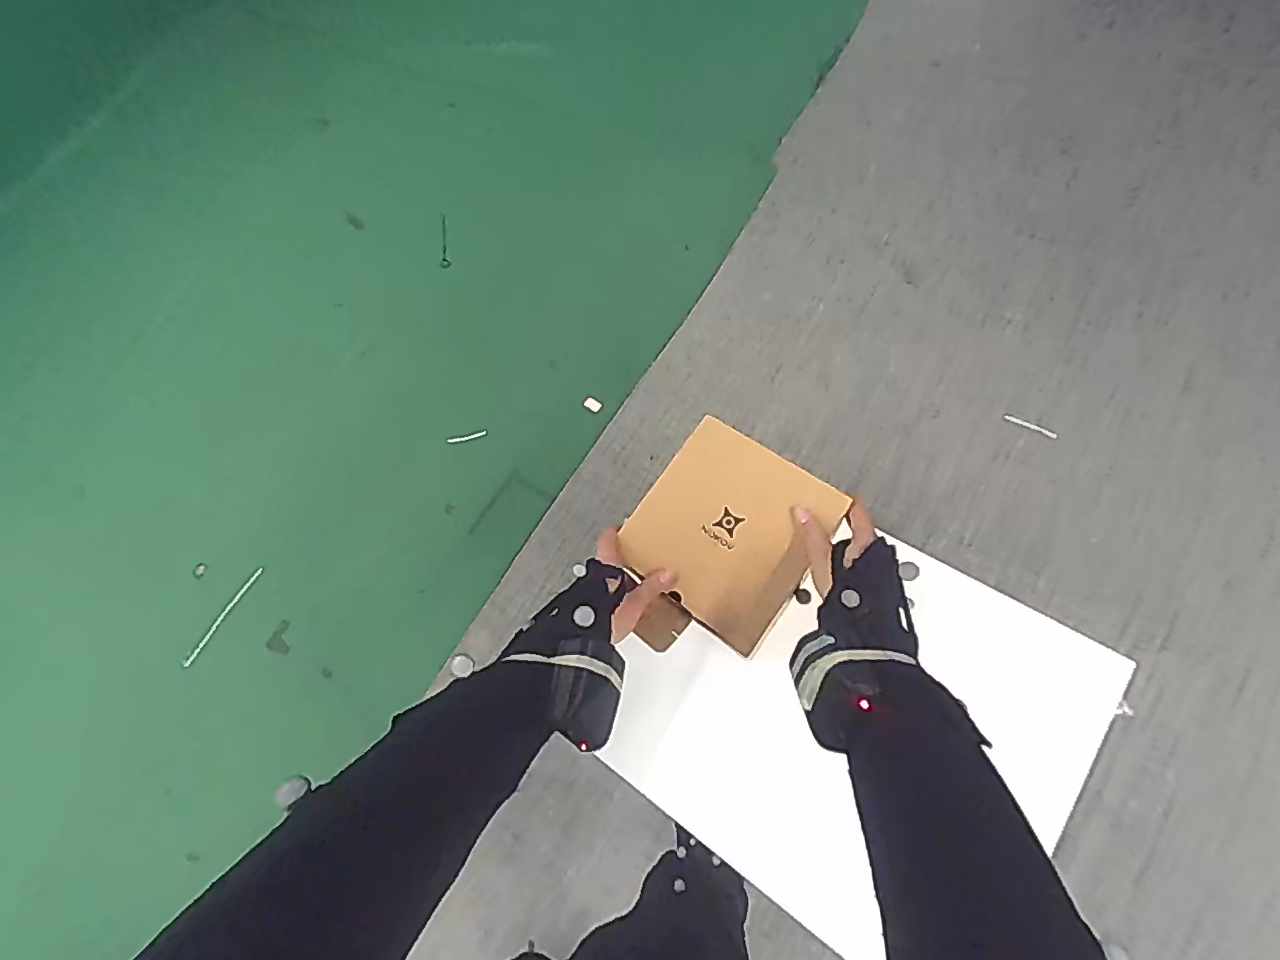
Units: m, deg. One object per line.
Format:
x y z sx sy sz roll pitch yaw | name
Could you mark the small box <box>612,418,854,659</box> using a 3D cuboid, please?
0.098 0.070 0.583 0.168 0.176 0.179 34 82 20 | small box
